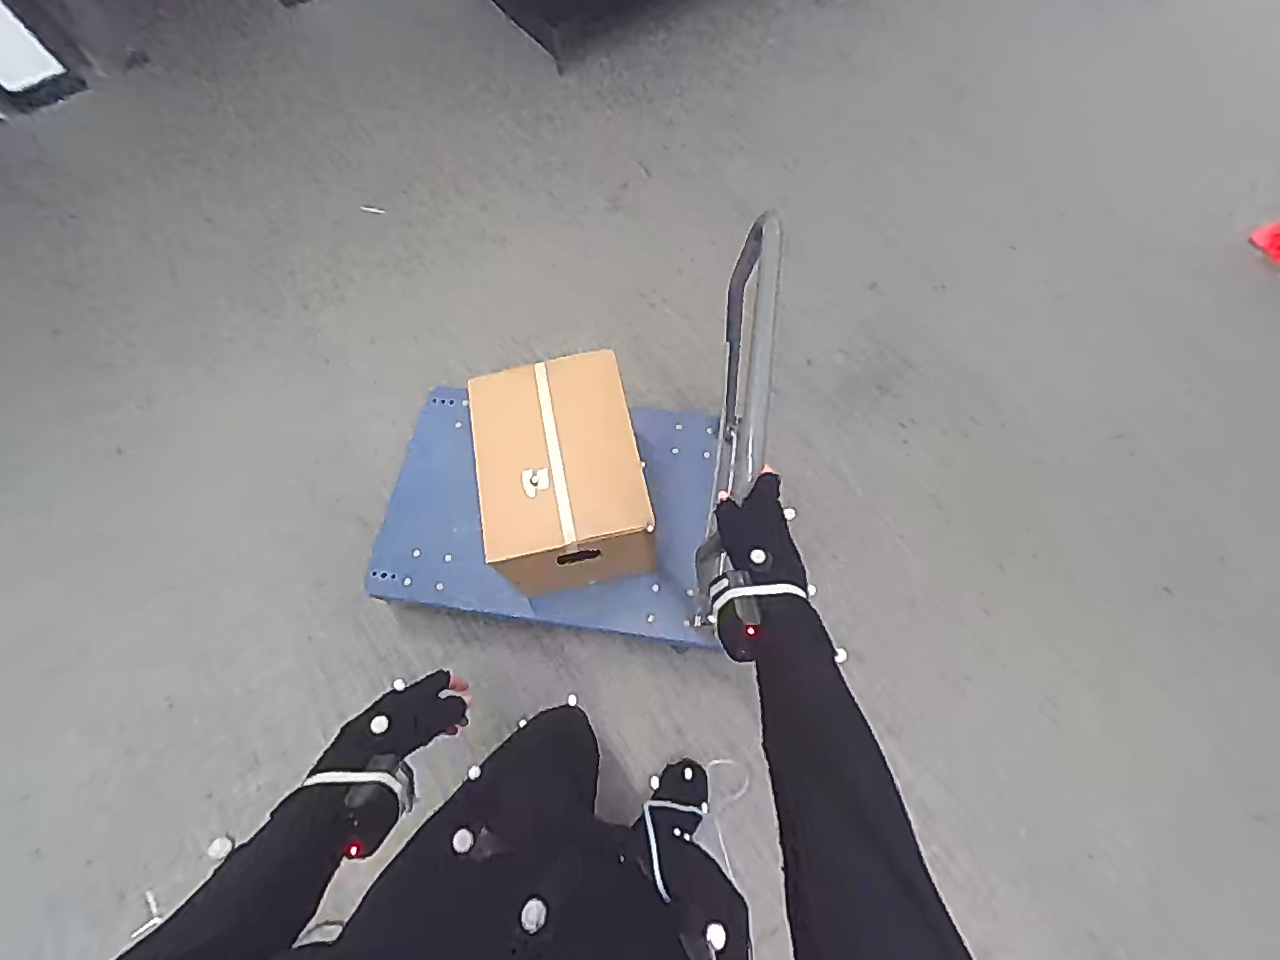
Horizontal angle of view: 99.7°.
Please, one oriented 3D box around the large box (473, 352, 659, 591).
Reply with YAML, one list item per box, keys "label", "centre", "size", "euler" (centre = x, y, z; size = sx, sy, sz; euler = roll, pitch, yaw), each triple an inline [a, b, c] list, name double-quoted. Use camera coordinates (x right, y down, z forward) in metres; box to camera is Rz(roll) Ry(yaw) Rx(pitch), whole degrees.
- label: "large box"
  centre: [-0.152, -0.007, 1.191]
  size: [0.320, 0.320, 0.408]
  euler: [-12, 67, -2]
